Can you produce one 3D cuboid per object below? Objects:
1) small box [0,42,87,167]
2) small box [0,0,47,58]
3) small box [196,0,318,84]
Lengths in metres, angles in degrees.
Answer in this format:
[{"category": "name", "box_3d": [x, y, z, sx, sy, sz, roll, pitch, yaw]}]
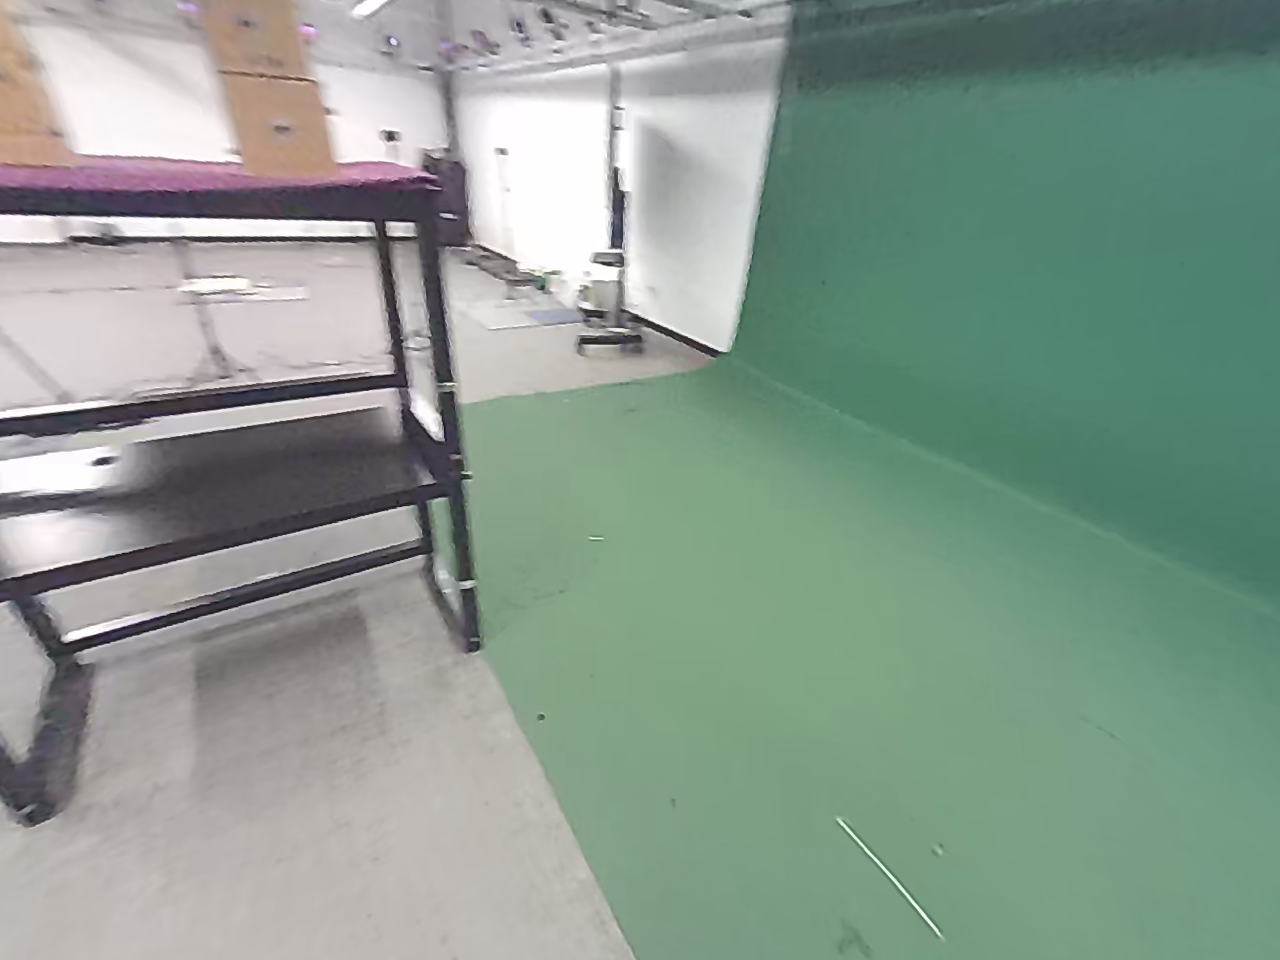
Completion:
[{"category": "small box", "box_3d": [-1.099, -0.631, 0.912, 0.179, 0.176, 0.168, -14, 34, -29]}, {"category": "small box", "box_3d": [-1.091, -0.776, 0.834, 0.179, 0.176, 0.168, -13, 34, -30]}, {"category": "small box", "box_3d": [-0.718, -0.853, 1.010, 0.168, 0.176, 0.179, -15, 34, -28]}]
